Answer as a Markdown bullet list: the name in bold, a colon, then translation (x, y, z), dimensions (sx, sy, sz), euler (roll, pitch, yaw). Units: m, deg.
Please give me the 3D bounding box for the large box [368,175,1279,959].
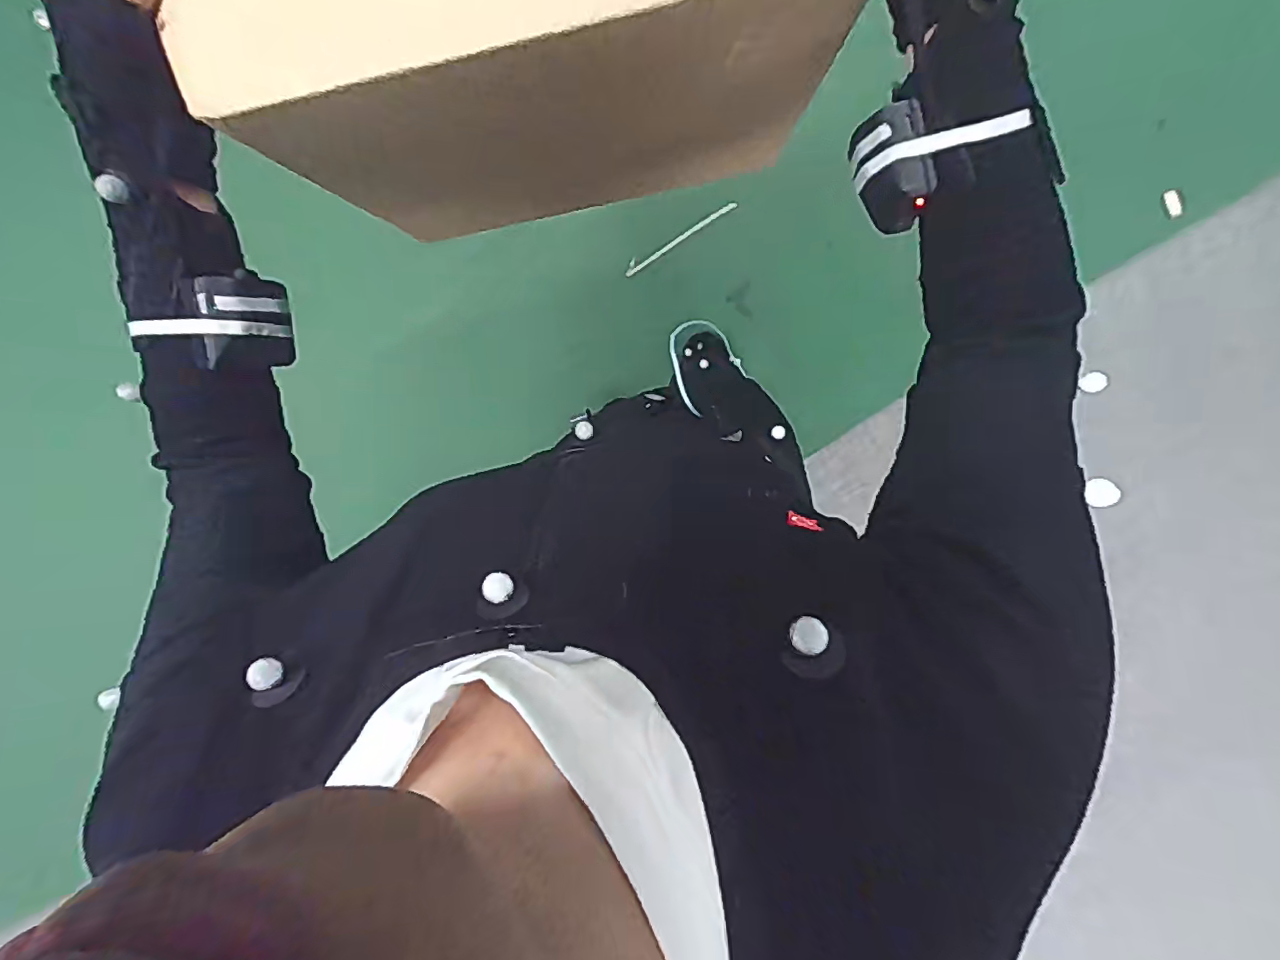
- **large box**: translation (0.150, 0.122, 0.296), dimensions (0.320, 0.320, 0.408), euler (5, 65, 40)
